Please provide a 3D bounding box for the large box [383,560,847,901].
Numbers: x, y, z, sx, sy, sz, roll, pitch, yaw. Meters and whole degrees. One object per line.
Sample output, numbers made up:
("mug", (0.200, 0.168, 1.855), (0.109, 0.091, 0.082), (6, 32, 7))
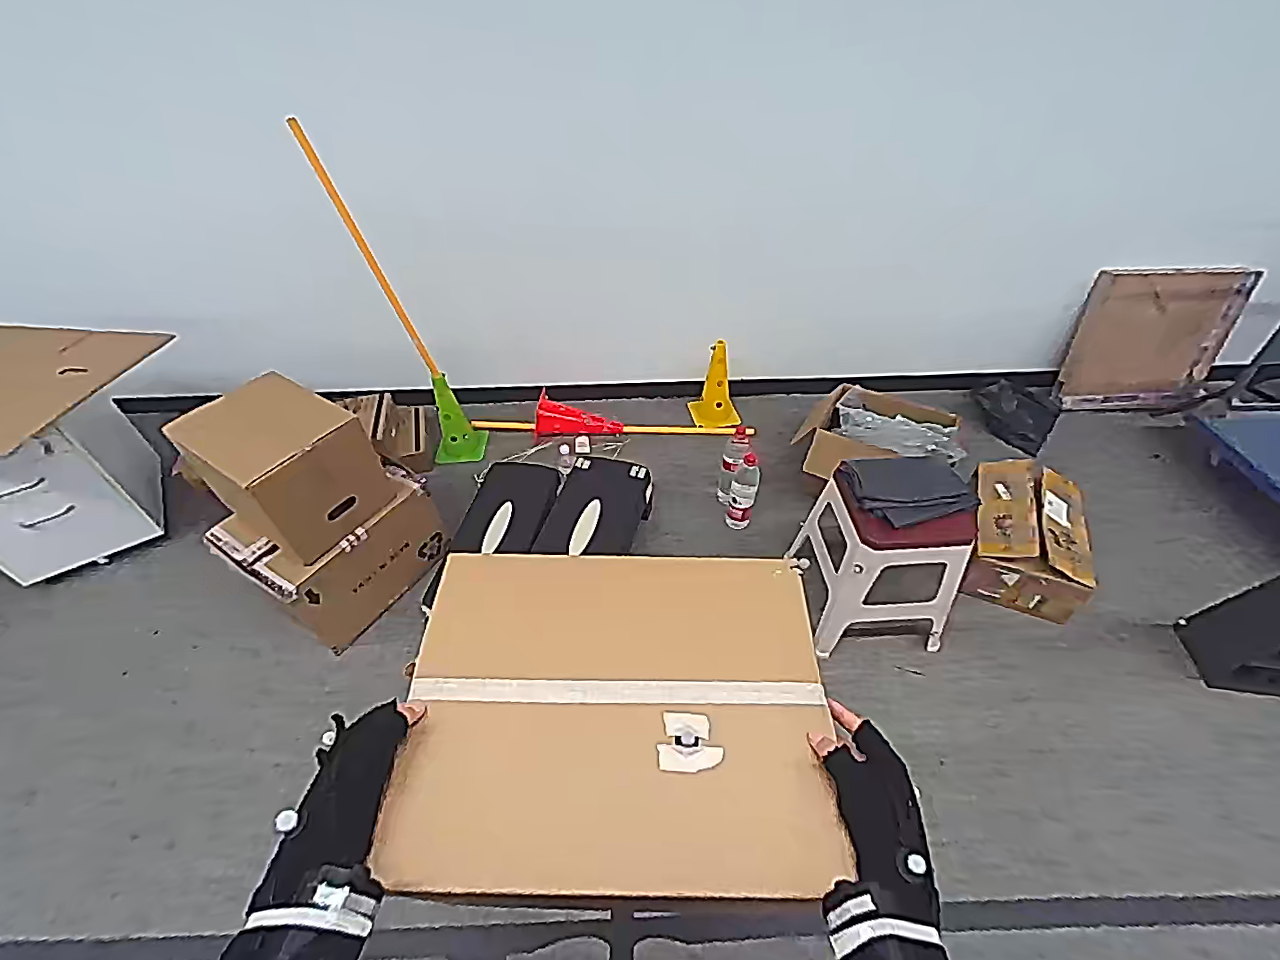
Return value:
("large box", (-0.024, 0.312, 0.663), (0.408, 0.320, 0.320), (2, 51, 0))
